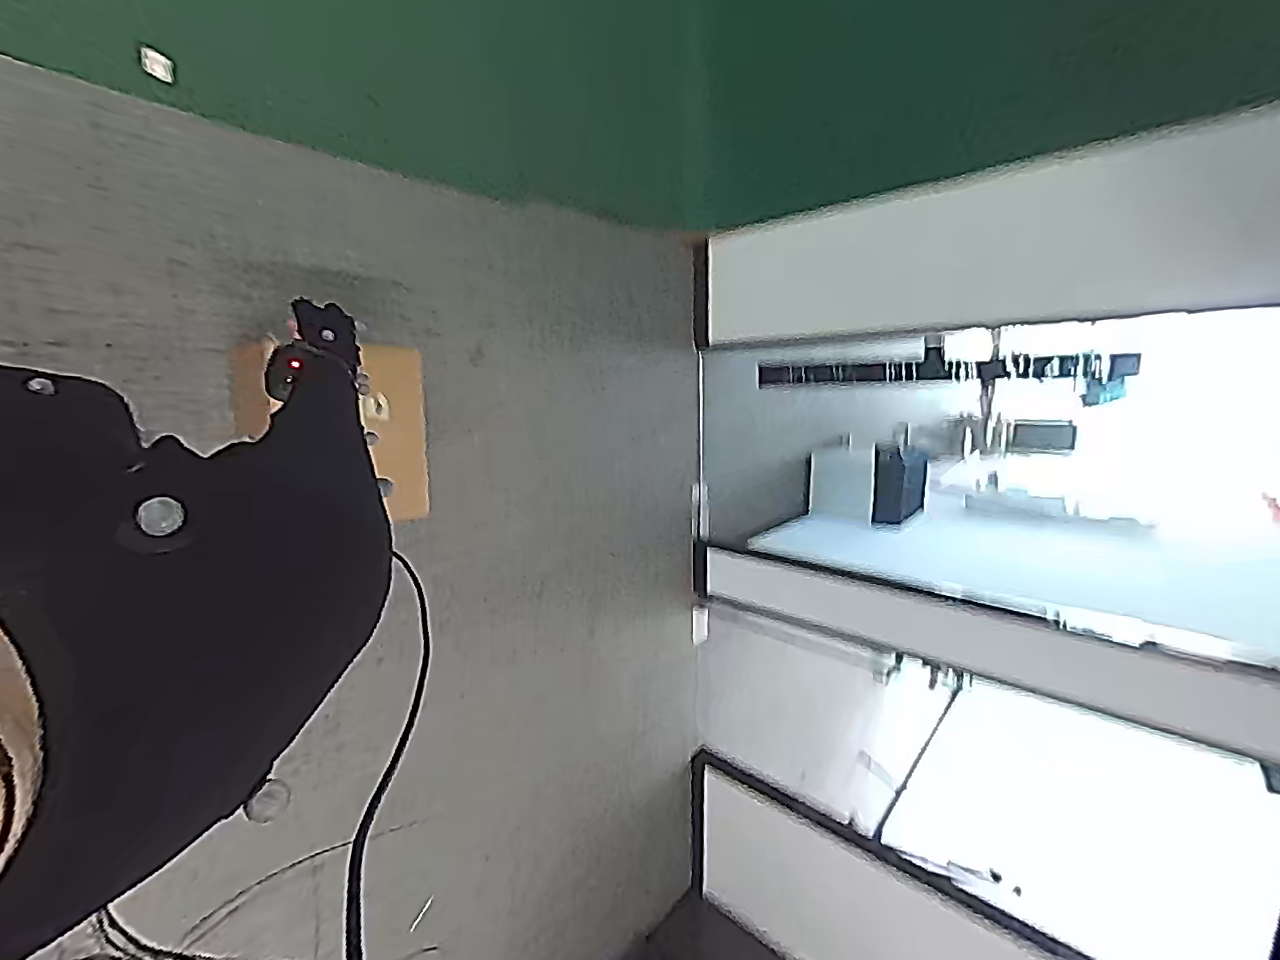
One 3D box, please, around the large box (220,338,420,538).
[{"bbox_3d":[-0.752,-0.105,1.276,0.320,0.320,0.408,-9,102,-48],"label":"large box"}]
